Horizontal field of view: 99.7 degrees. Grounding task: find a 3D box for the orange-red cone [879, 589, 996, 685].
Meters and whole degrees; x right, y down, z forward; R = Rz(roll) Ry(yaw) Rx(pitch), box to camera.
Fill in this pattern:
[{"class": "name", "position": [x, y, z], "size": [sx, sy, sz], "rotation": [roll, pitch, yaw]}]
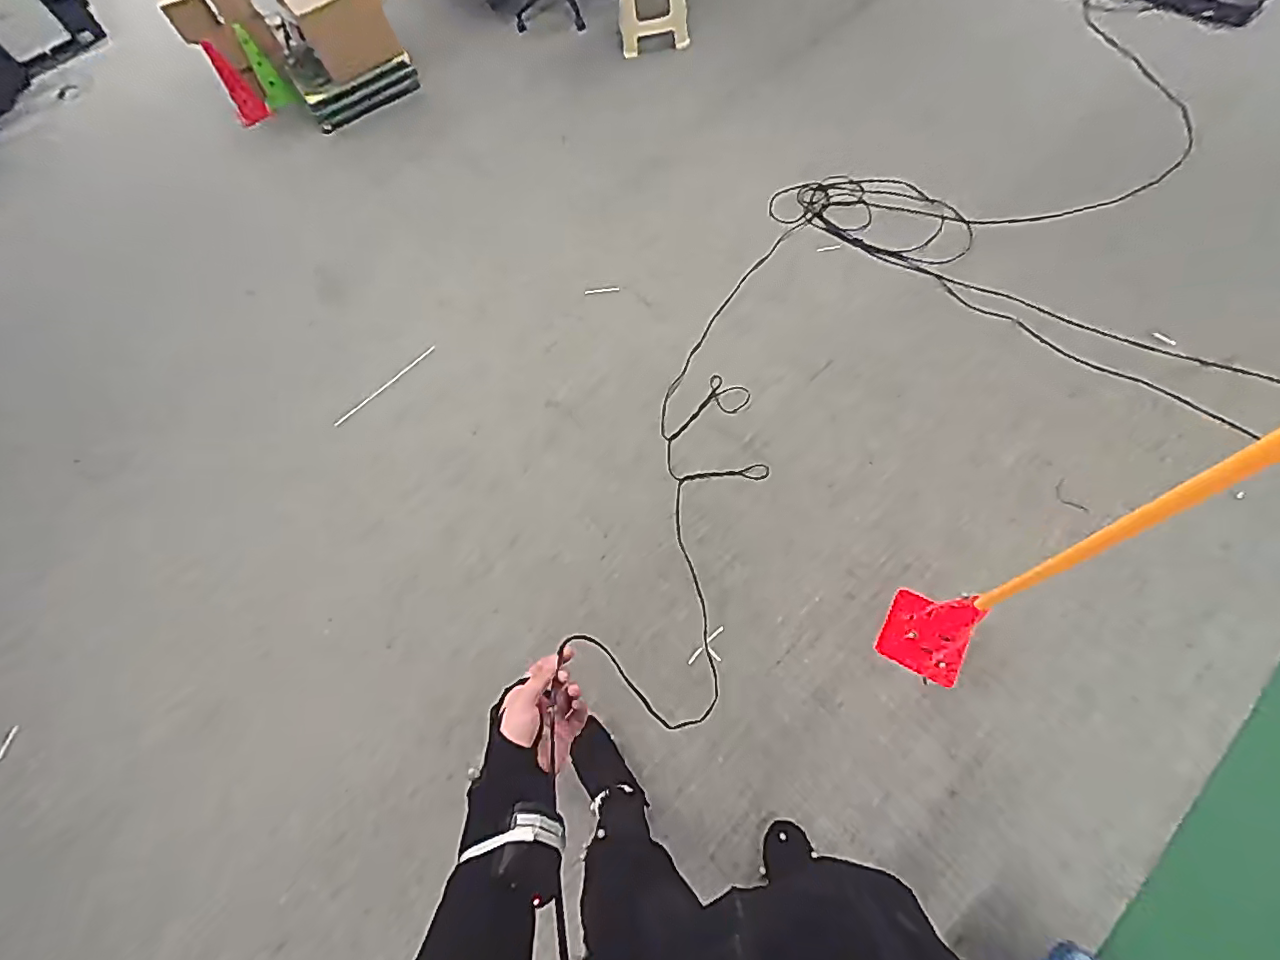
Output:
[{"class": "orange-red cone", "position": [0.724, 0.327, 1.256], "size": [0.198, 0.360, 0.199], "rotation": [26, 69, 19]}]
